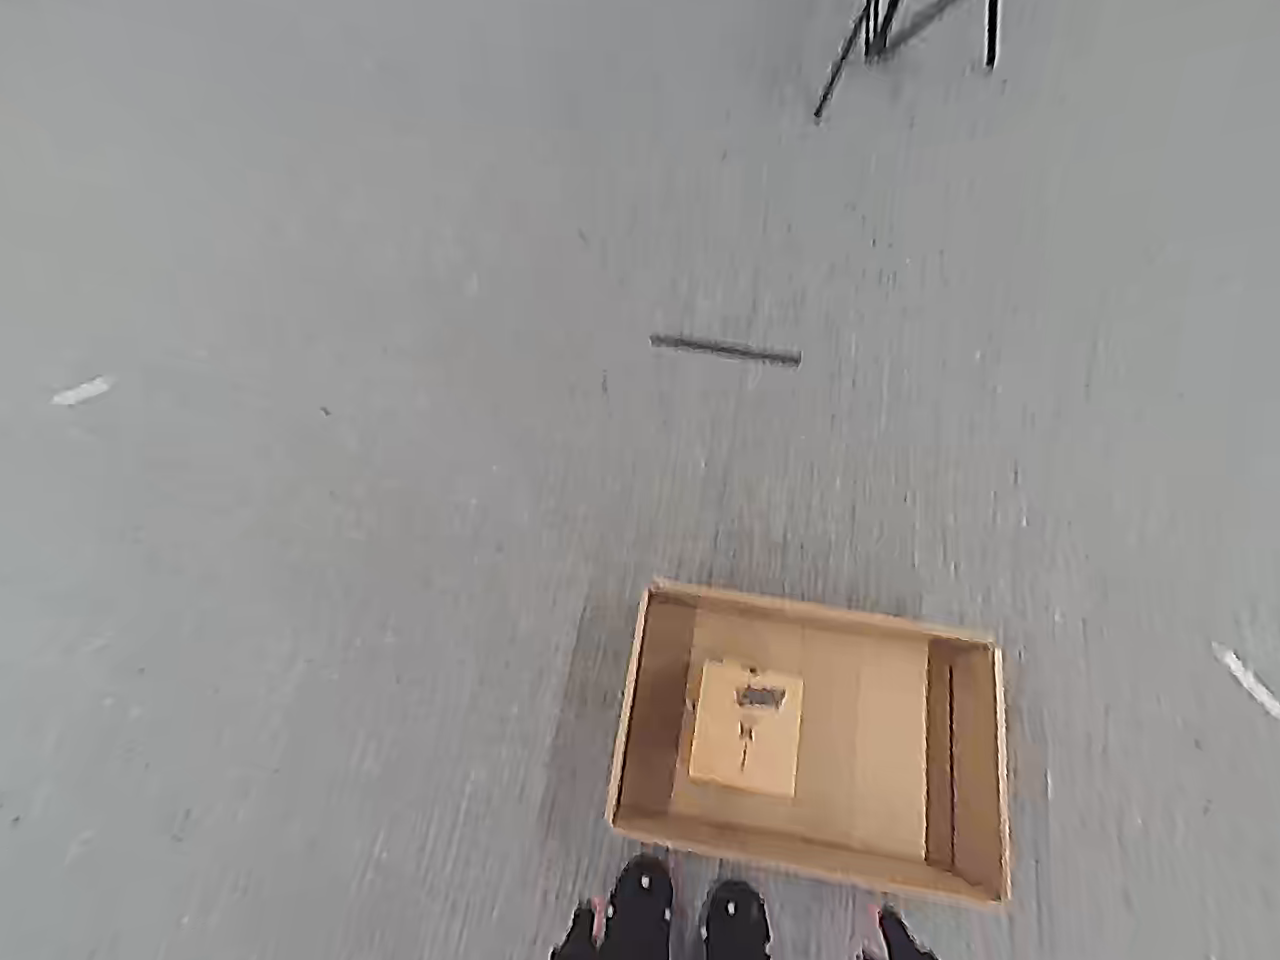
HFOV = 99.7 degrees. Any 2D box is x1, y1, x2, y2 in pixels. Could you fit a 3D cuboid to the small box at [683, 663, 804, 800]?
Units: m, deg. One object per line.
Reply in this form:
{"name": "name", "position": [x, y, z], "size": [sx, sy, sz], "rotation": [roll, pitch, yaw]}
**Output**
{"name": "small box", "position": [0.171, 0.420, 0.930], "size": [0.168, 0.176, 0.179], "rotation": [10, 72, 3]}
